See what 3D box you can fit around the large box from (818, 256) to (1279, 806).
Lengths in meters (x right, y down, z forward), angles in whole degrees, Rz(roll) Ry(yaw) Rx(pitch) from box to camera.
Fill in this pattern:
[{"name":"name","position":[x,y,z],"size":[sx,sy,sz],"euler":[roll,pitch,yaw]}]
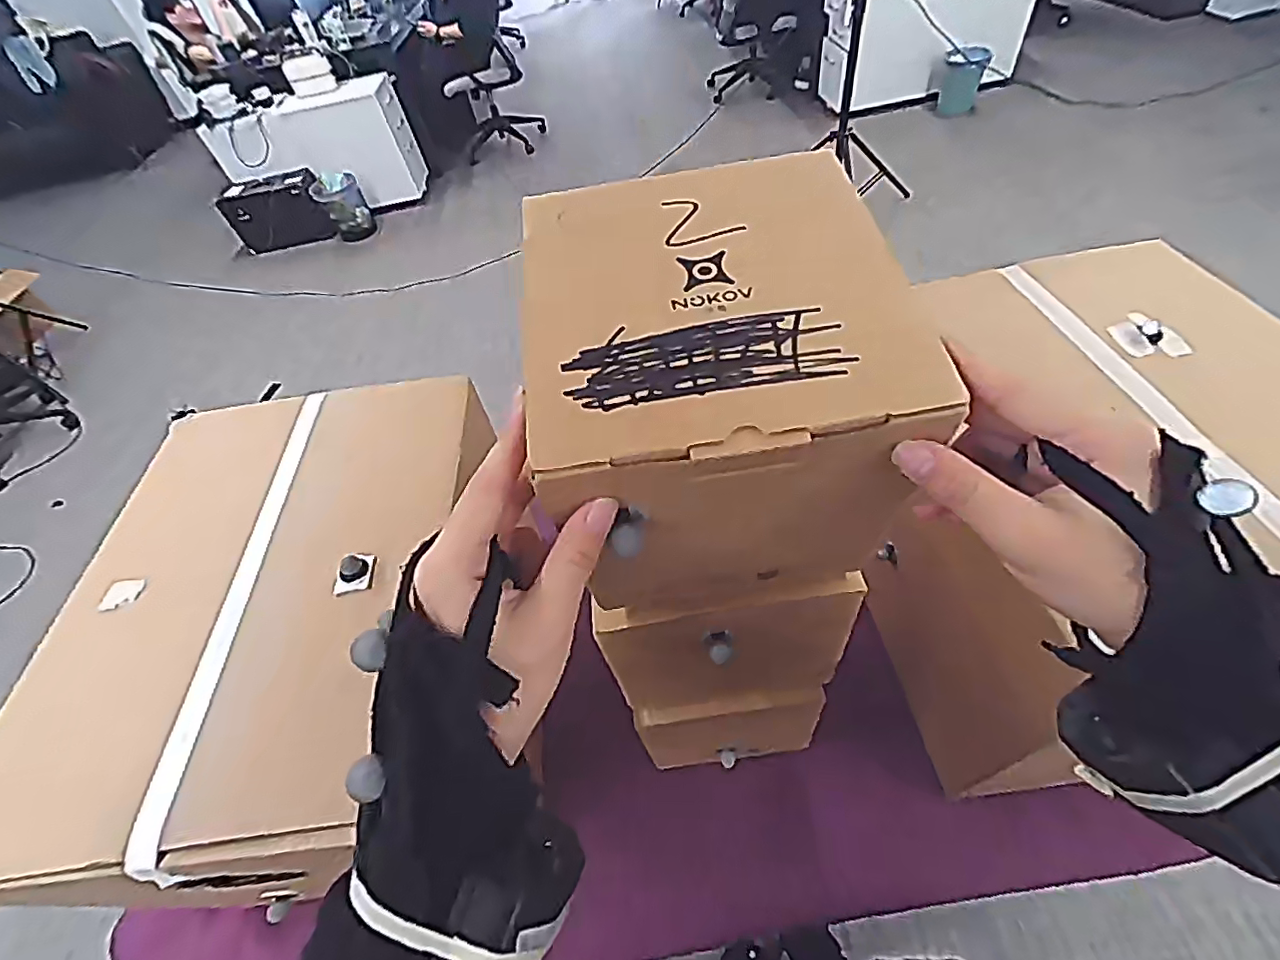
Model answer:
[{"name":"large box","position":[0.402,0.046,0.534],"size":[0.320,0.320,0.408],"euler":[-10,49,2]}]
